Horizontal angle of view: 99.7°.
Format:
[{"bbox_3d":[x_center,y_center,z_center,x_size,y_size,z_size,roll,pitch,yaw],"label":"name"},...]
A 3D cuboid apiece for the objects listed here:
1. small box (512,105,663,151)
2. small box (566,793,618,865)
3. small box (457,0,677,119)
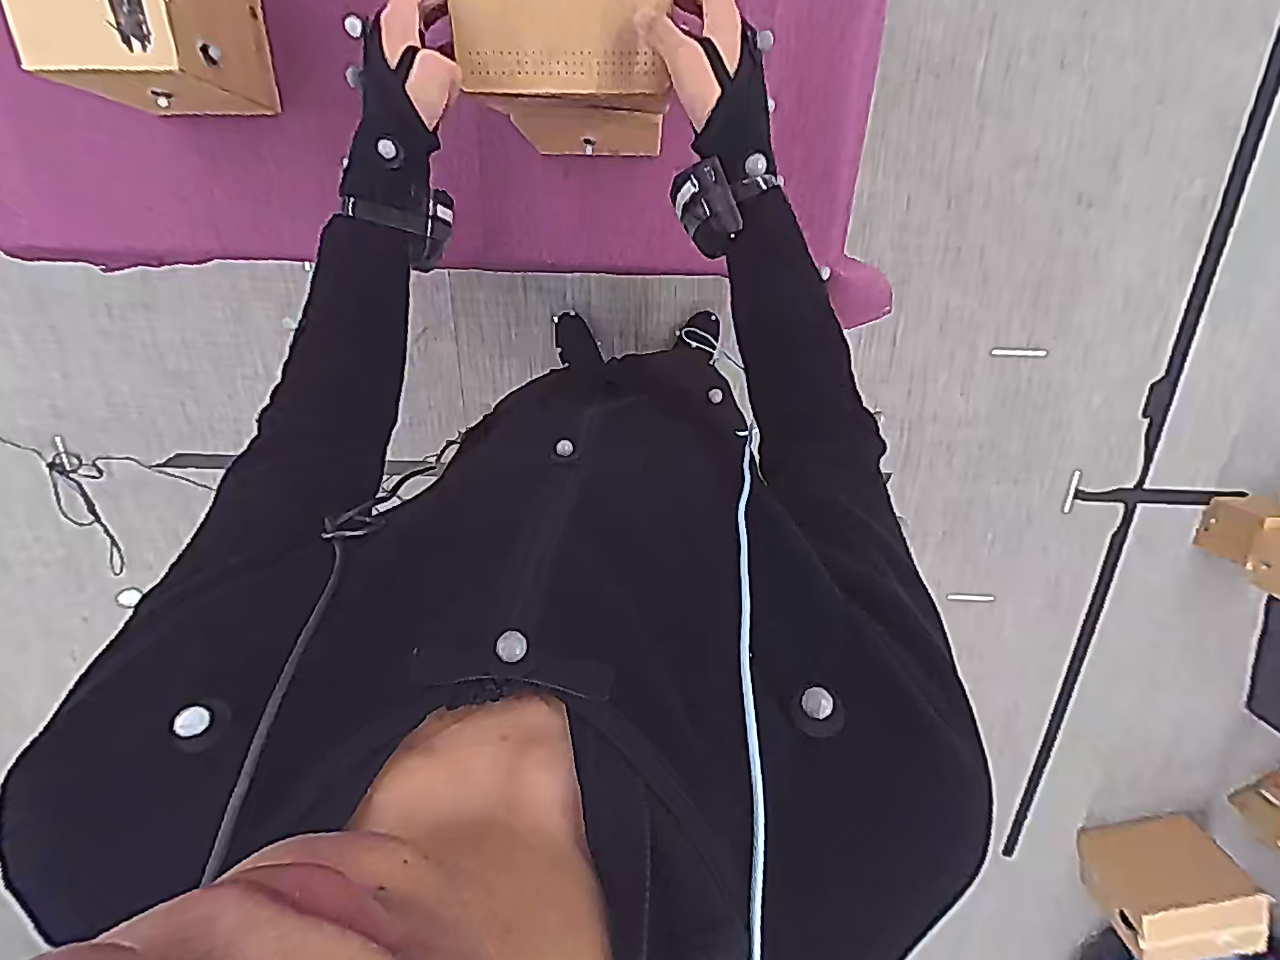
[{"bbox_3d":[-0.053,-0.500,0.632,0.168,0.176,0.179,2,110,0],"label":"small box"},{"bbox_3d":[-0.185,1.368,2.126,0.179,0.176,0.168,8,110,-3],"label":"small box"},{"bbox_3d":[-0.056,-0.427,0.472,0.179,0.168,0.176,2,120,0],"label":"small box"}]
